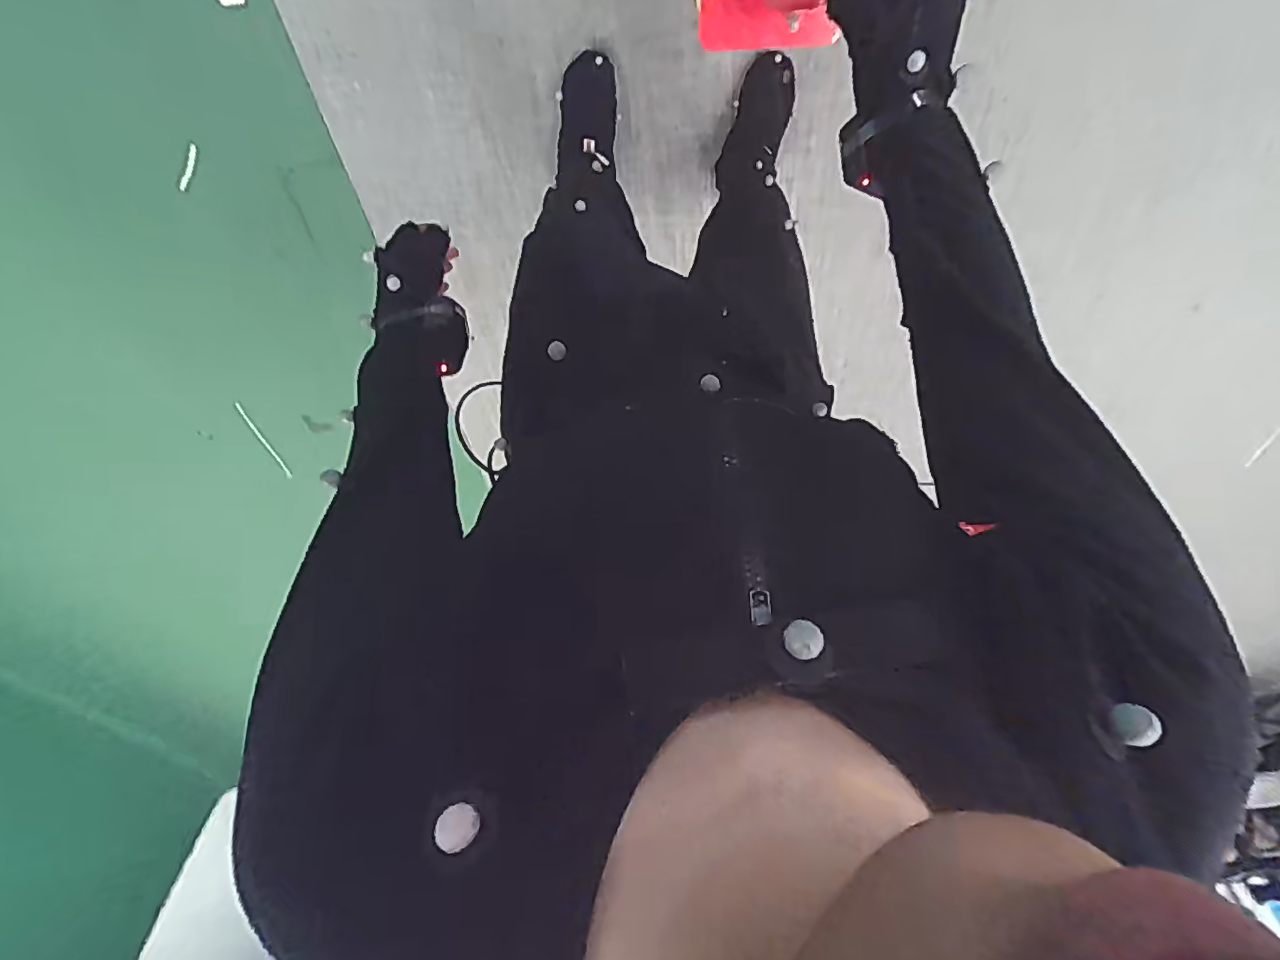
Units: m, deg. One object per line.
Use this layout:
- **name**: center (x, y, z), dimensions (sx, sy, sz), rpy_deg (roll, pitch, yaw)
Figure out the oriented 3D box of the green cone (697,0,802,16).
- **green cone**: center (0.193, -0.775, 0.767), dimensions (0.202, 0.368, 0.200), rpy_deg (-5, 136, 4)
